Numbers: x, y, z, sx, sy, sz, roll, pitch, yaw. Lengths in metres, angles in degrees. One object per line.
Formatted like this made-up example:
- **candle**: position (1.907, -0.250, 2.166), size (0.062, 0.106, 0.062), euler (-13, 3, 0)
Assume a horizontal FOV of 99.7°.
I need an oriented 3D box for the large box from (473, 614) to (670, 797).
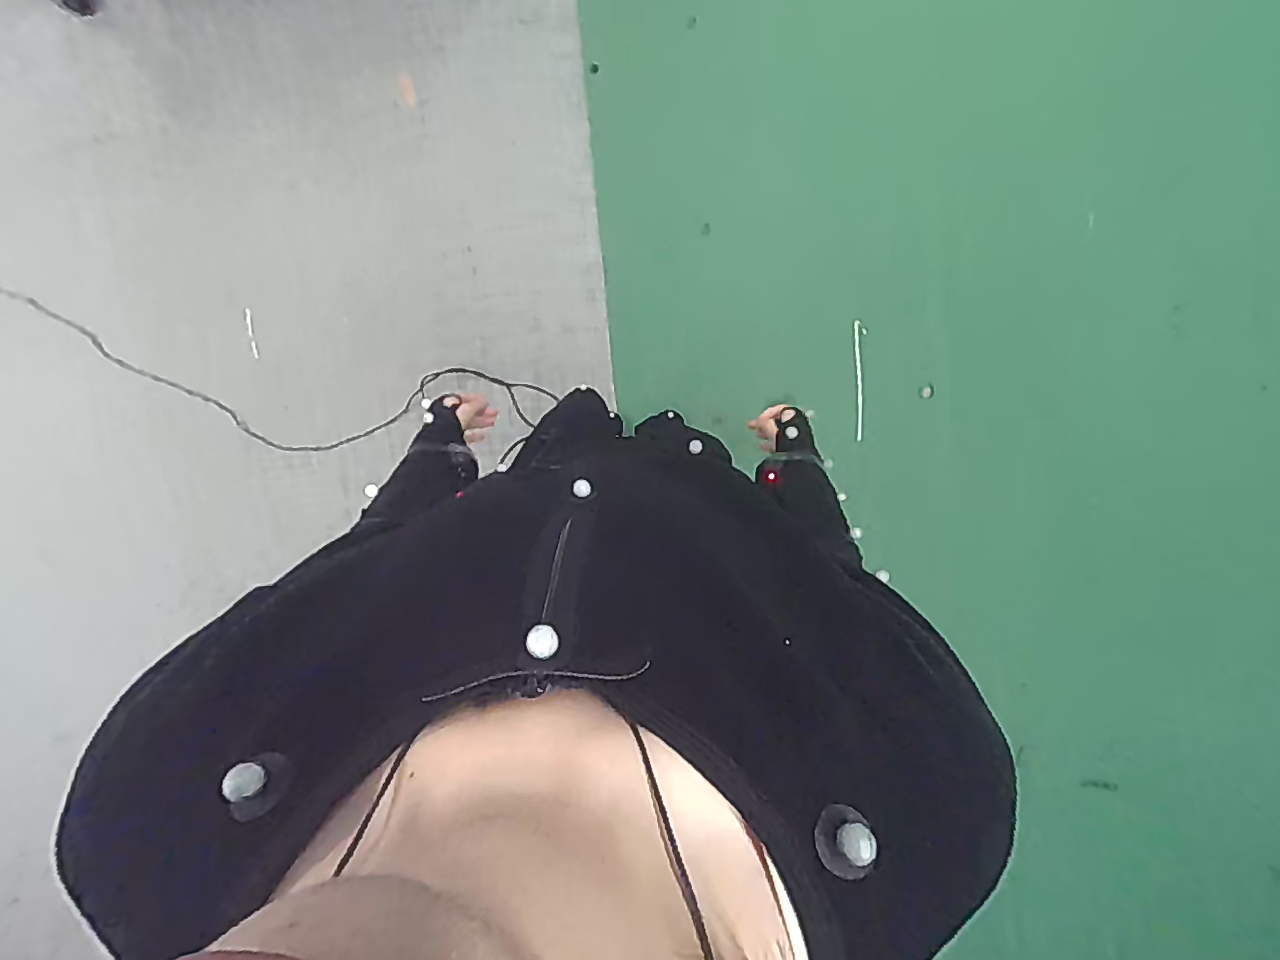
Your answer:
- **large box**: position (-0.163, 0.605, 1.435), size (0.408, 0.320, 0.320), euler (-19, 97, 3)
